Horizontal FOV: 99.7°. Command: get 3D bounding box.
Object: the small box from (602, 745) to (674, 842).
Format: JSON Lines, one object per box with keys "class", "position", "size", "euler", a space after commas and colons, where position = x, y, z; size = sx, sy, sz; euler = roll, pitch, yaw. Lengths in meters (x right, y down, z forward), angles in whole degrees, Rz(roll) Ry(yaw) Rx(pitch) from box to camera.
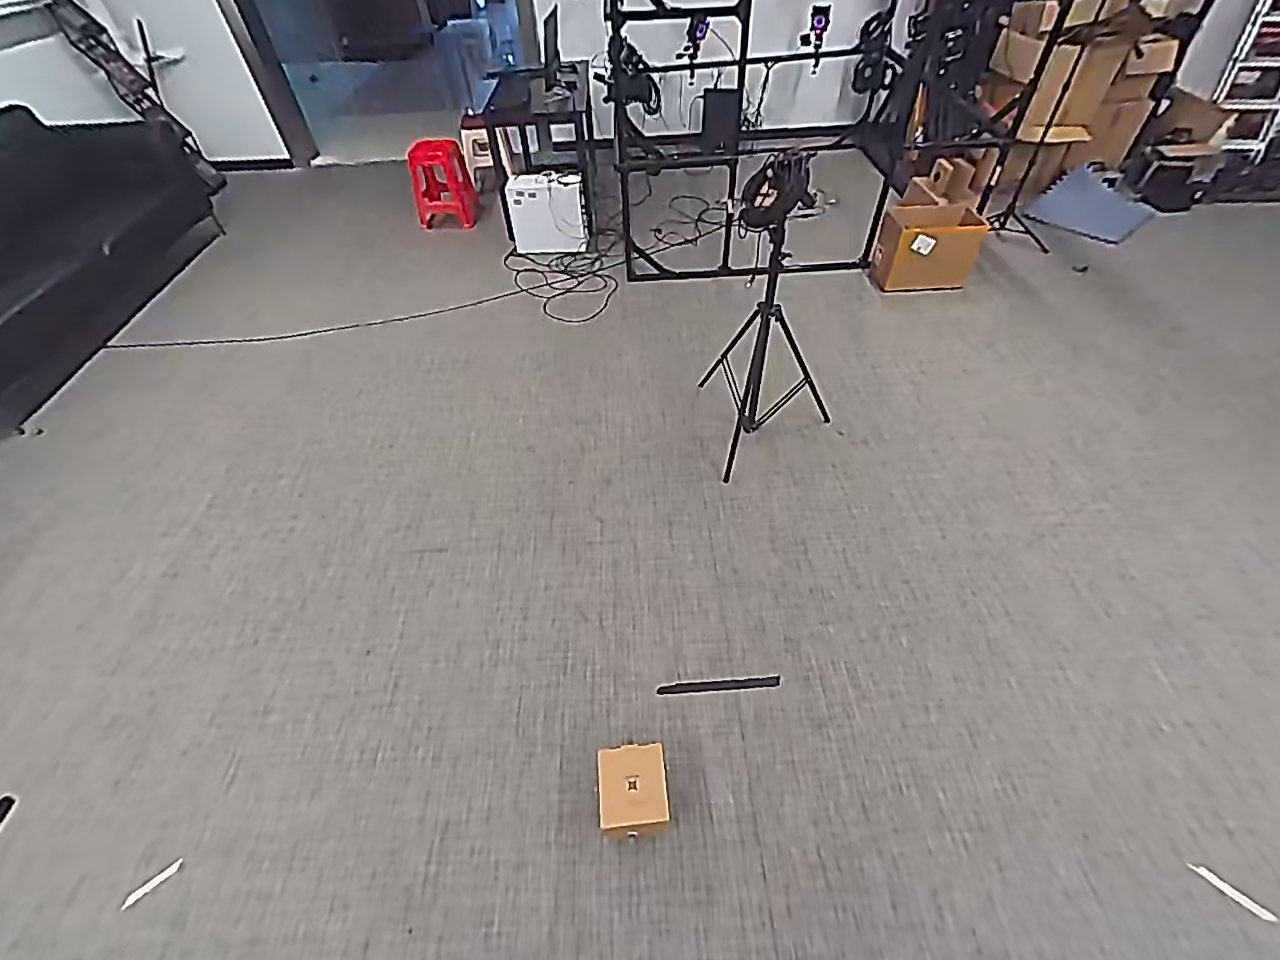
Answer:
{"class": "small box", "position": [-0.006, 0.796, 1.373], "size": [0.168, 0.176, 0.179], "euler": [-6, 49, -1]}
